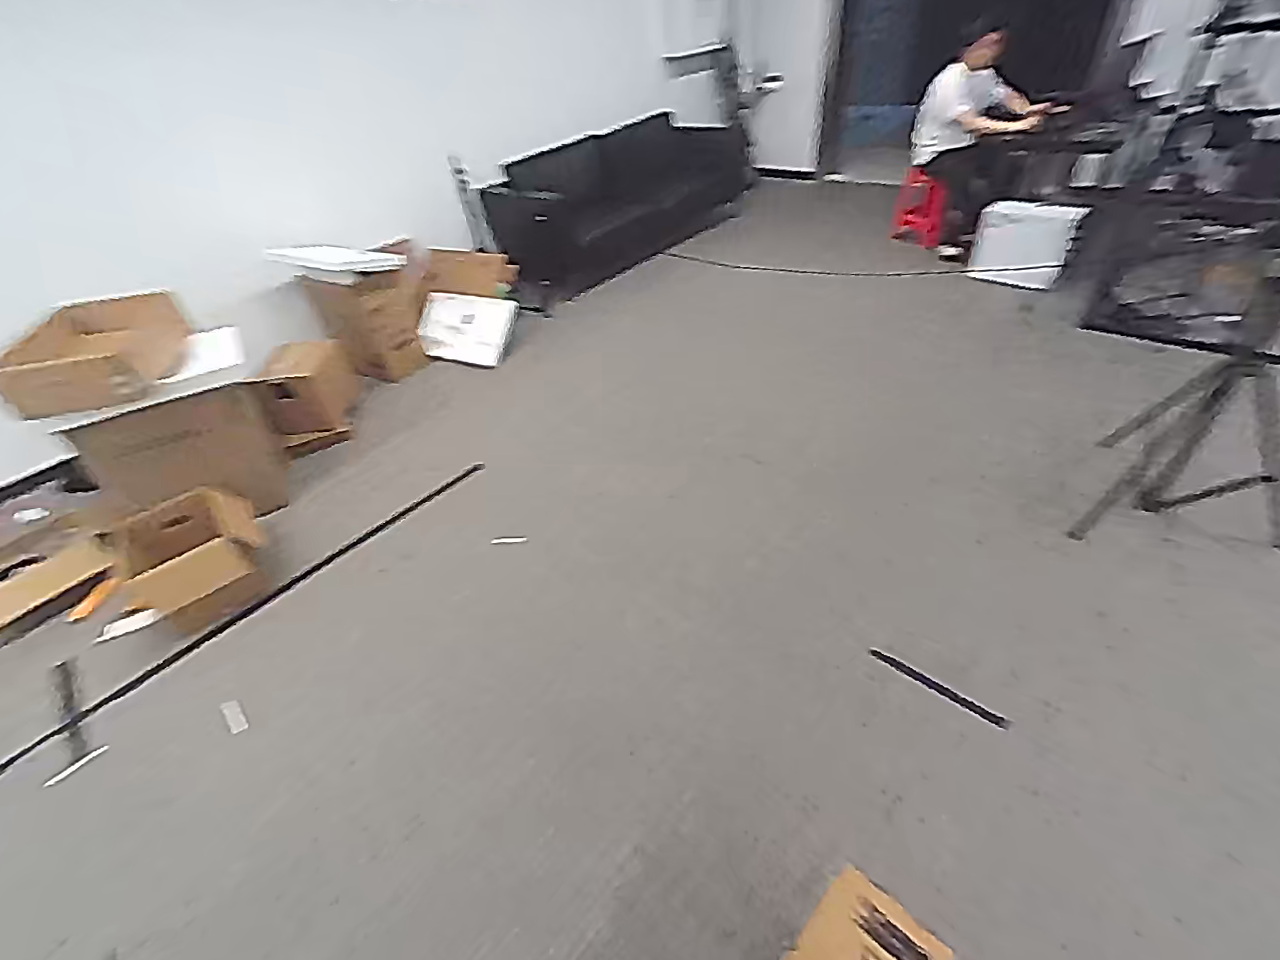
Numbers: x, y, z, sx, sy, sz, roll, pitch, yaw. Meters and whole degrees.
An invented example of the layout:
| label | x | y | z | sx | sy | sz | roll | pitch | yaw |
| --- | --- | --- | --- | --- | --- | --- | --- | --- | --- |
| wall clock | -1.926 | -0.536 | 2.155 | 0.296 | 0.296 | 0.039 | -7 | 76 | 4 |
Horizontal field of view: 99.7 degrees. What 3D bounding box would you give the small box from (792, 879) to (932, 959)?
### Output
| label | x | y | z | sx | sy | sz | roll | pitch | yaw |
| --- | --- | --- | --- | --- | --- | --- | --- | --- | --- |
| small box | 0.359 | 0.837 | 0.916 | 0.168 | 0.176 | 0.179 | 28 | 53 | 36 |
